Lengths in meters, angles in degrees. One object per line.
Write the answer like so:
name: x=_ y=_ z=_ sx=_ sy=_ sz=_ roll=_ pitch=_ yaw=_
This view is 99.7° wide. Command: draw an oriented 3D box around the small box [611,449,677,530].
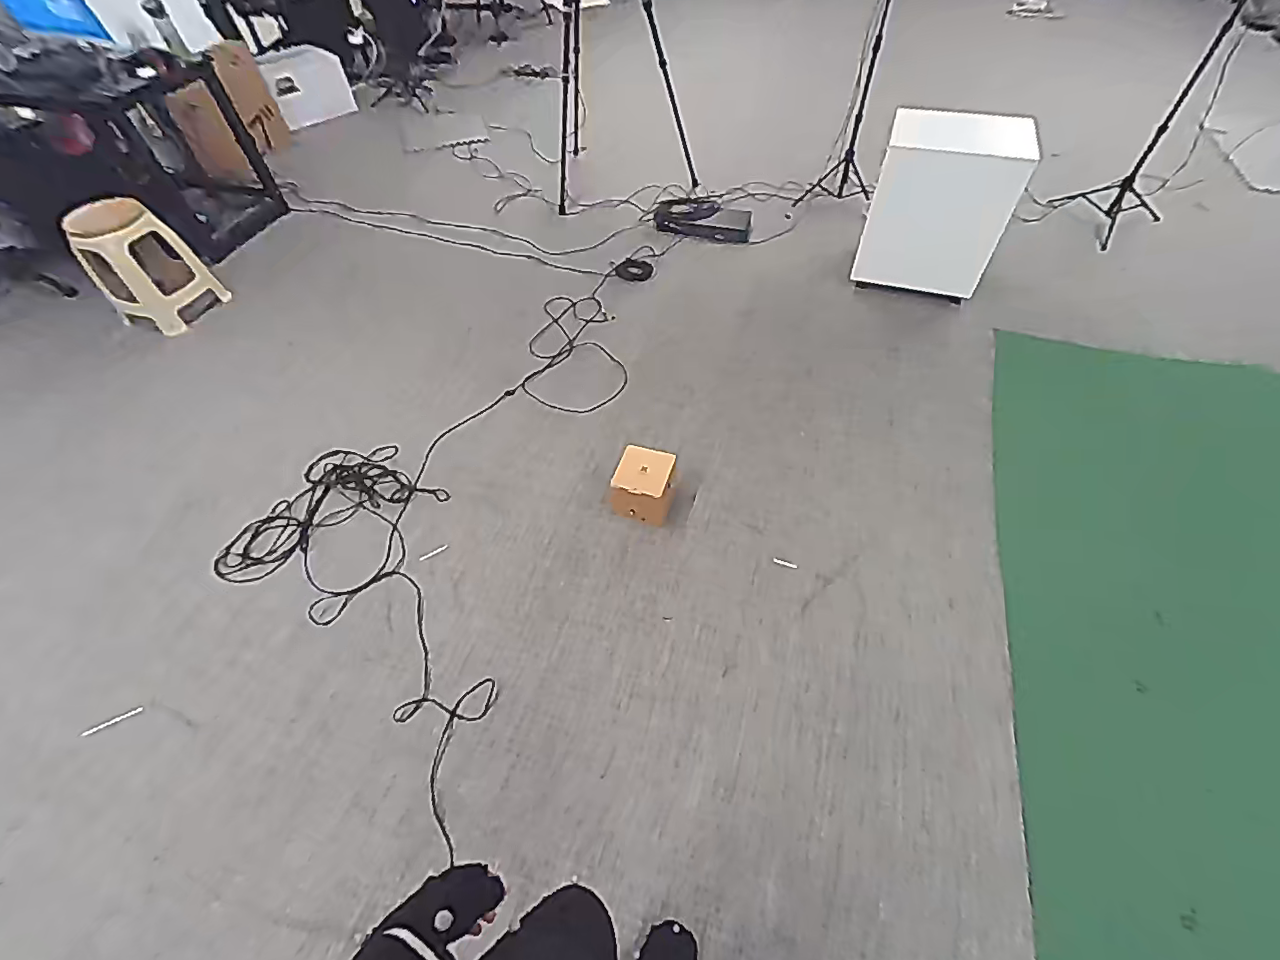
small box: x=0.017 y=0.031 z=1.741 sx=0.168 sy=0.176 sz=0.179 roll=13 pitch=54 yaw=14
